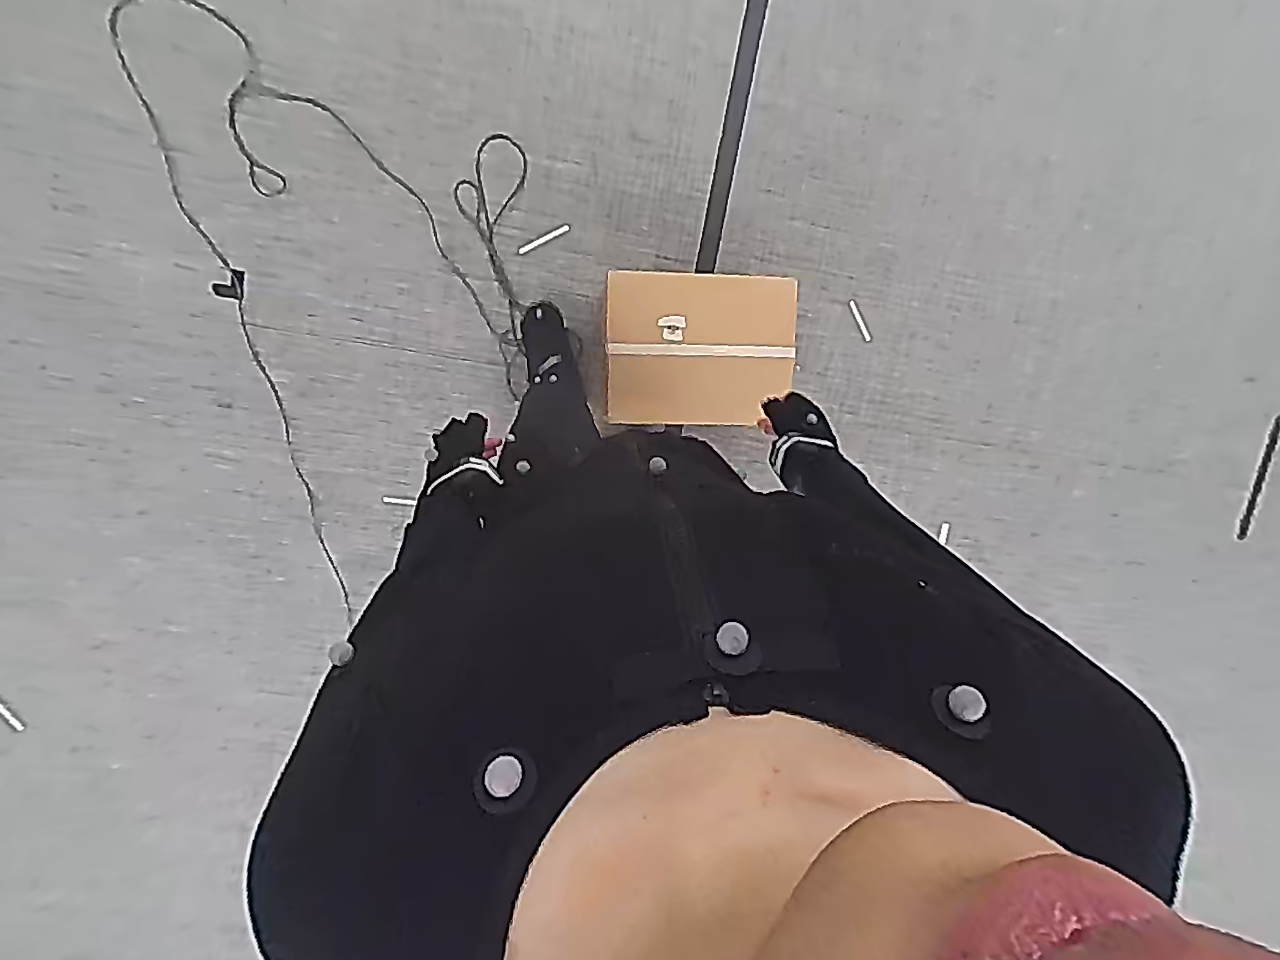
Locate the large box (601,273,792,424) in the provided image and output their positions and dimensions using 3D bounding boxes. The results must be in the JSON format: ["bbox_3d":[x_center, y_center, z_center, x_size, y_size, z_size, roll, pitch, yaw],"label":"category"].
[{"bbox_3d":[0.112,-0.305,1.297,0.408,0.320,0.320,0,100,-5],"label":"large box"}]
